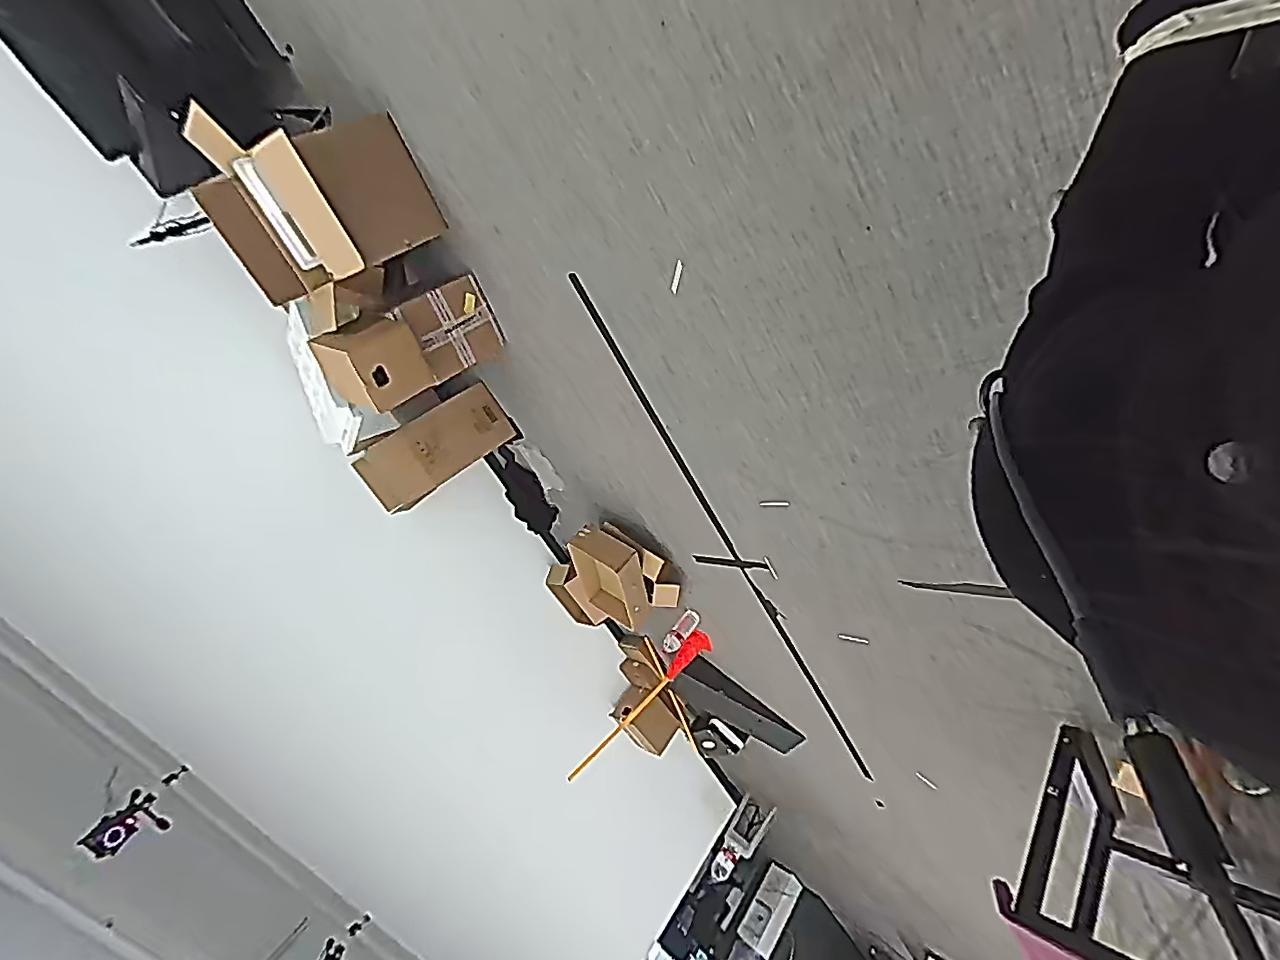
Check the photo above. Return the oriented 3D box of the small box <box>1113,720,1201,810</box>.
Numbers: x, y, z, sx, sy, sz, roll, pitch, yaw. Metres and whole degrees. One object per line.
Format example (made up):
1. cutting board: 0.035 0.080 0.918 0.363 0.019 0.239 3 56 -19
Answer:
1. small box: 1.677 0.916 1.757 0.179 0.176 0.168 13 136 41
